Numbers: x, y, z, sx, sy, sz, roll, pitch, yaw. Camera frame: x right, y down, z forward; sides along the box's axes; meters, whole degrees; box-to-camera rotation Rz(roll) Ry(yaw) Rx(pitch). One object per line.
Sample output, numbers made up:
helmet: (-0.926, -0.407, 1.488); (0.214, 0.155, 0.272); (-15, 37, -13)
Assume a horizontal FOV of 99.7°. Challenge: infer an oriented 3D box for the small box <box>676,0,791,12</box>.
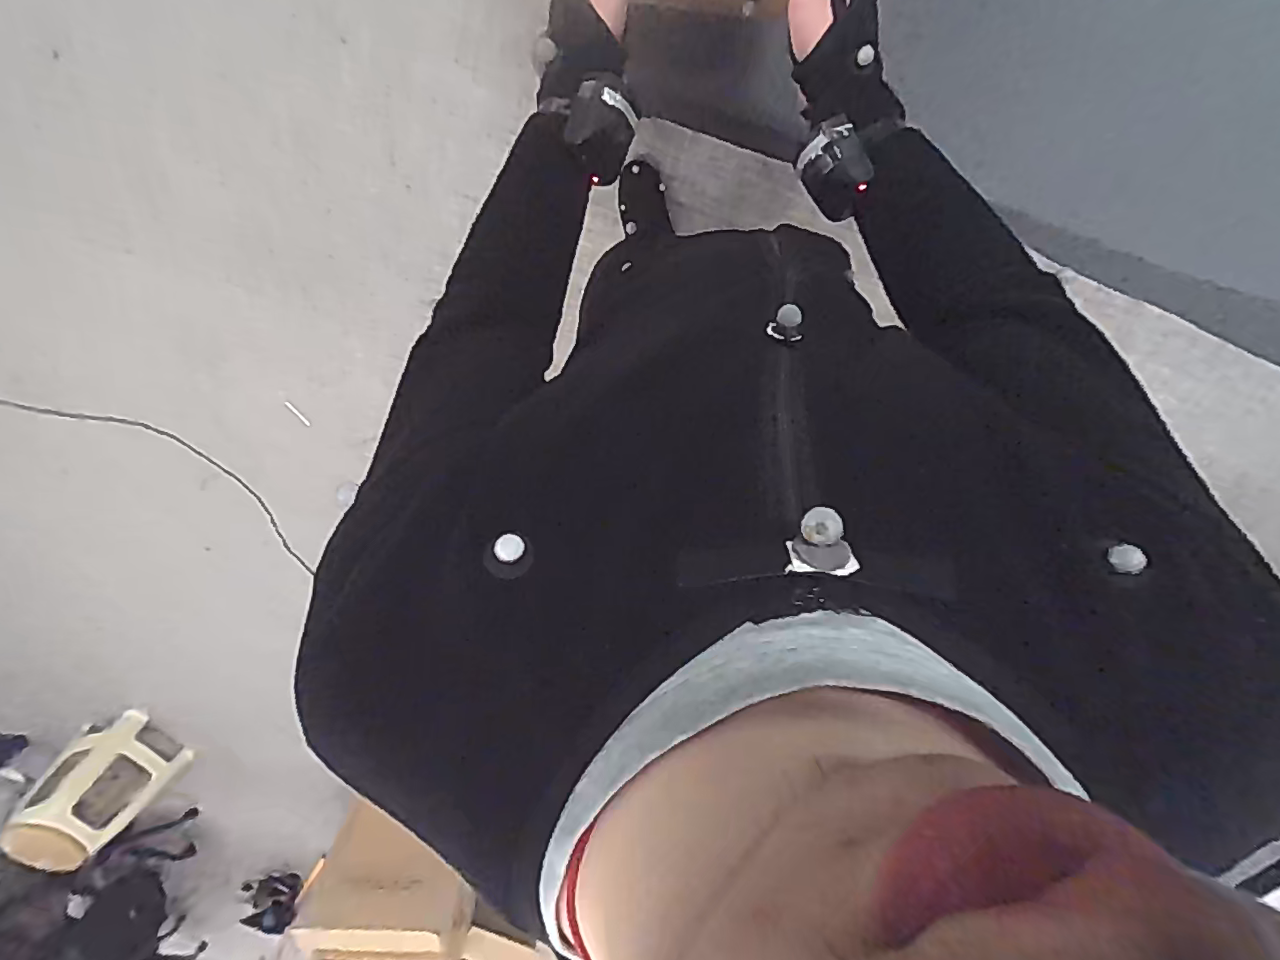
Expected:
small box: (0.071, -0.501, 0.424); (0.179, 0.176, 0.168); (6, 118, -3)
